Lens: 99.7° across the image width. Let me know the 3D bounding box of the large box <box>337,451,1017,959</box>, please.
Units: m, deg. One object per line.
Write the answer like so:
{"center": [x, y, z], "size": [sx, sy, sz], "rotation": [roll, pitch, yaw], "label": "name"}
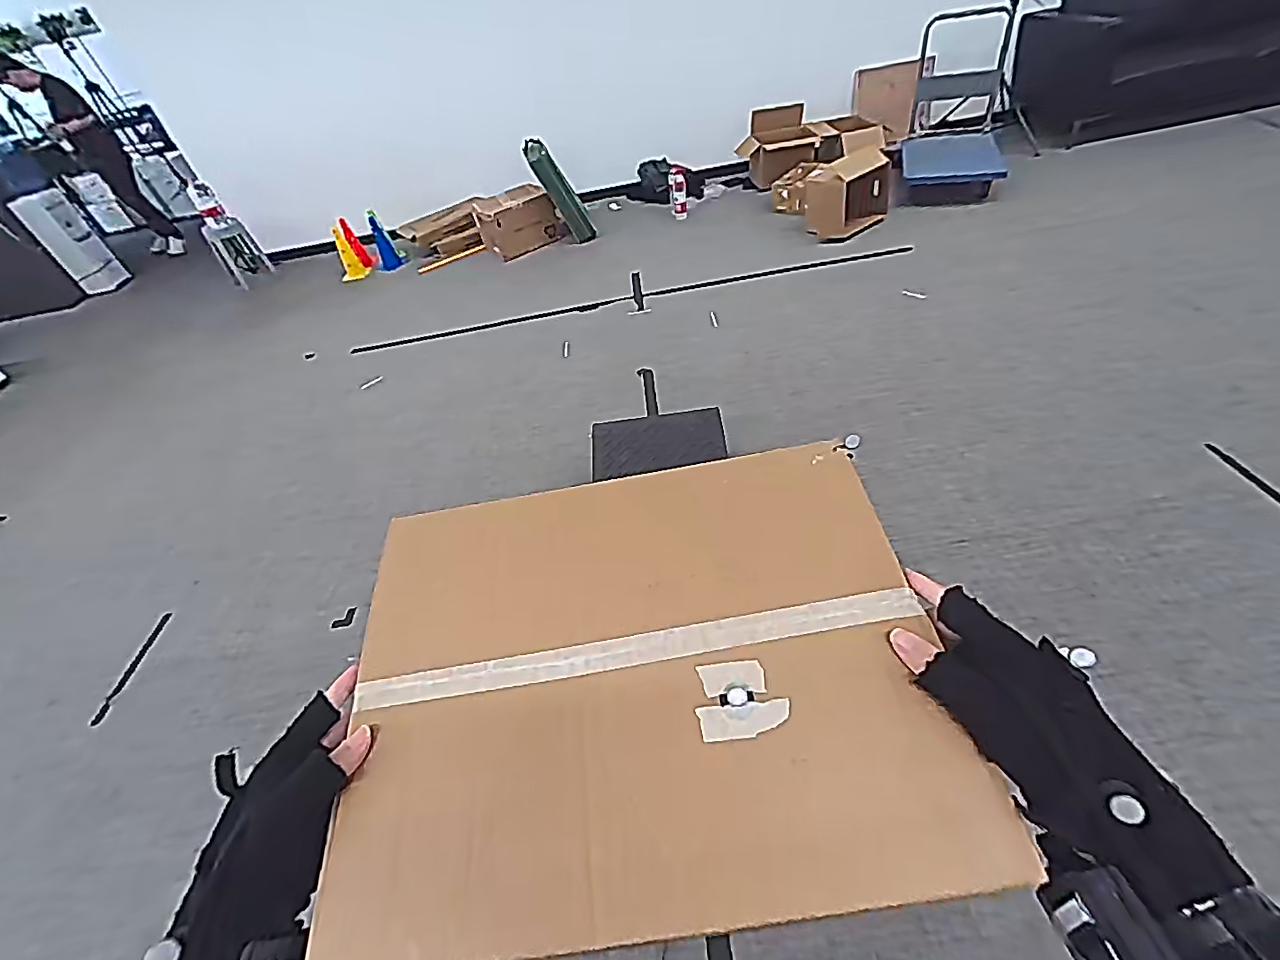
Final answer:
{"center": [0.018, 0.217, 0.513], "size": [0.408, 0.320, 0.320], "rotation": [-10, 52, 2], "label": "large box"}
